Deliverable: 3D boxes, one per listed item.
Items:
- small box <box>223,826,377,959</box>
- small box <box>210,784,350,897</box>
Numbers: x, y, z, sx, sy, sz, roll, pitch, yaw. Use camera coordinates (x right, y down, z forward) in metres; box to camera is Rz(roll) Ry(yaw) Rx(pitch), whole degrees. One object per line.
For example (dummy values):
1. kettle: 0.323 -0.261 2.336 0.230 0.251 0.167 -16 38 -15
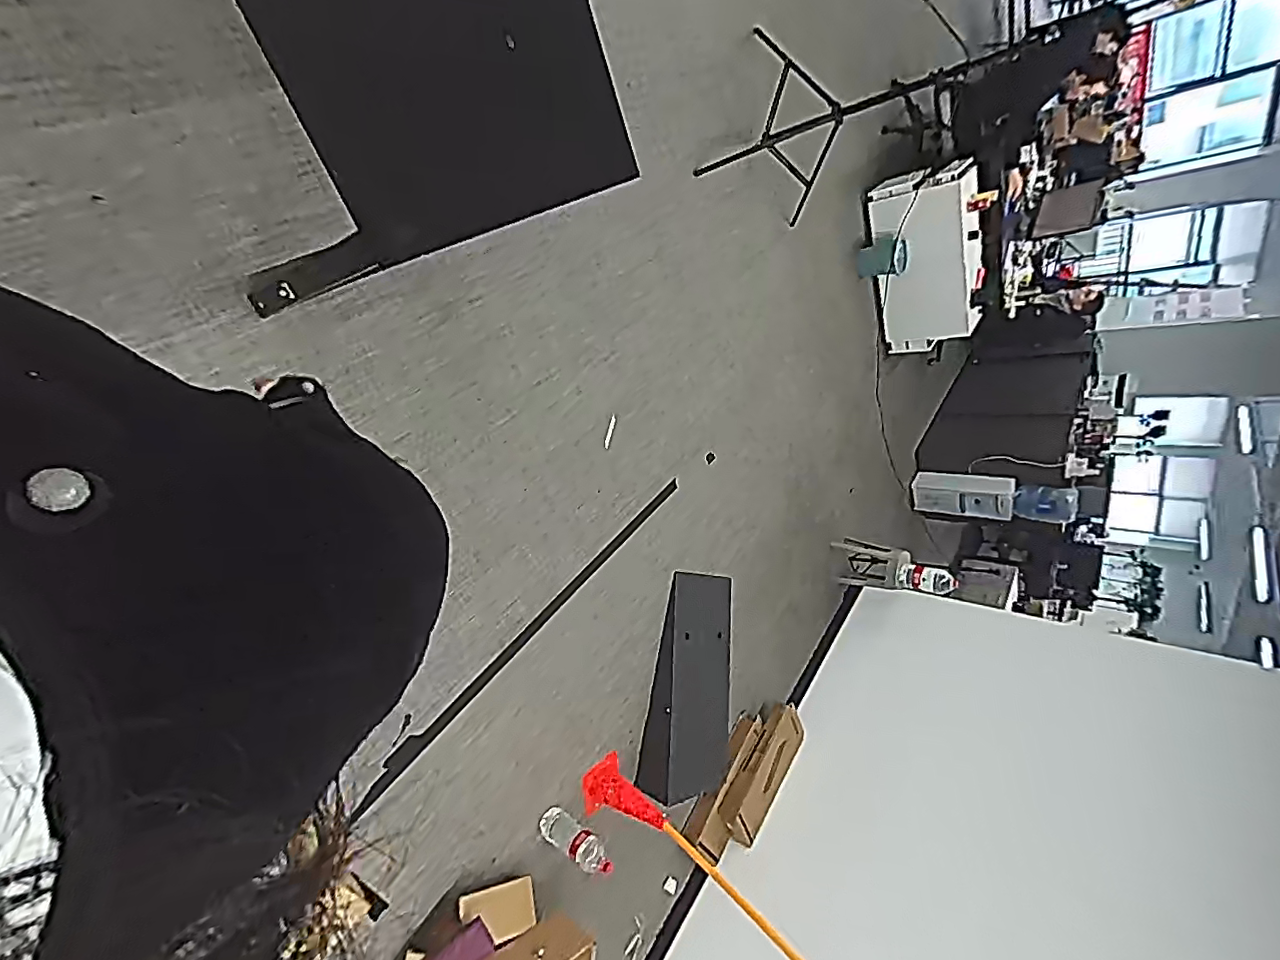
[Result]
1. small box: -0.655 0.817 1.044 0.168 0.176 0.179 -44 124 -33
2. small box: -0.771 0.798 1.161 0.168 0.176 0.179 -44 126 -33
